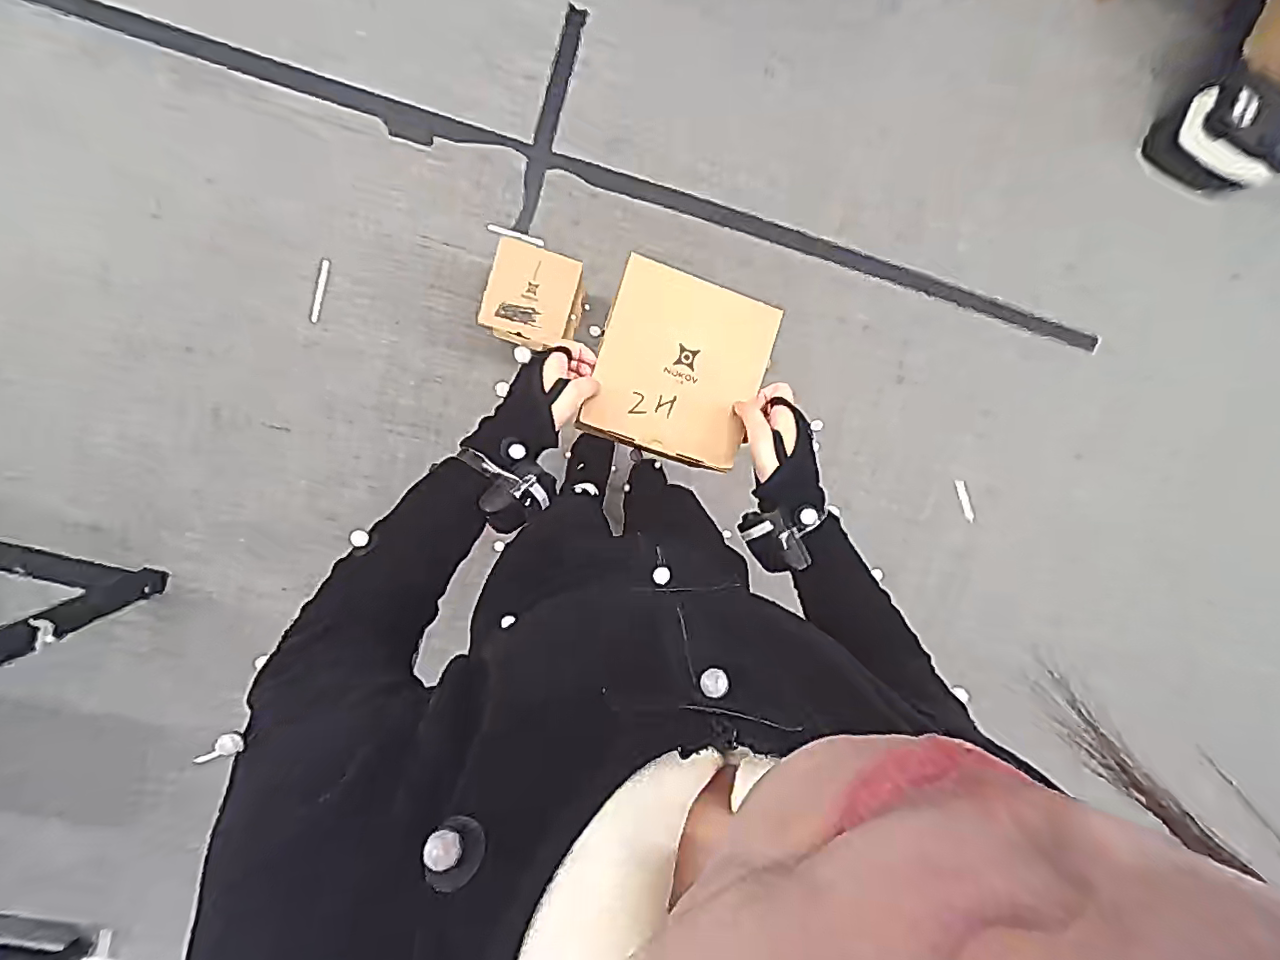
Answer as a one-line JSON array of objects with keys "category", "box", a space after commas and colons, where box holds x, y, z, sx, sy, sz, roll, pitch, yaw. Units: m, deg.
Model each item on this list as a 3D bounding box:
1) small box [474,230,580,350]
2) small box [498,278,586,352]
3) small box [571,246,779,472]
[{"category": "small box", "box": [-0.226, -0.379, 1.119, 0.168, 0.176, 0.179, 17, 96, -10]}, {"category": "small box", "box": [-0.234, -0.407, 1.280, 0.179, 0.176, 0.168, 15, 98, -8]}, {"category": "small box", "box": [0.024, -0.120, 0.601, 0.168, 0.176, 0.179, 18, 91, -9]}]
